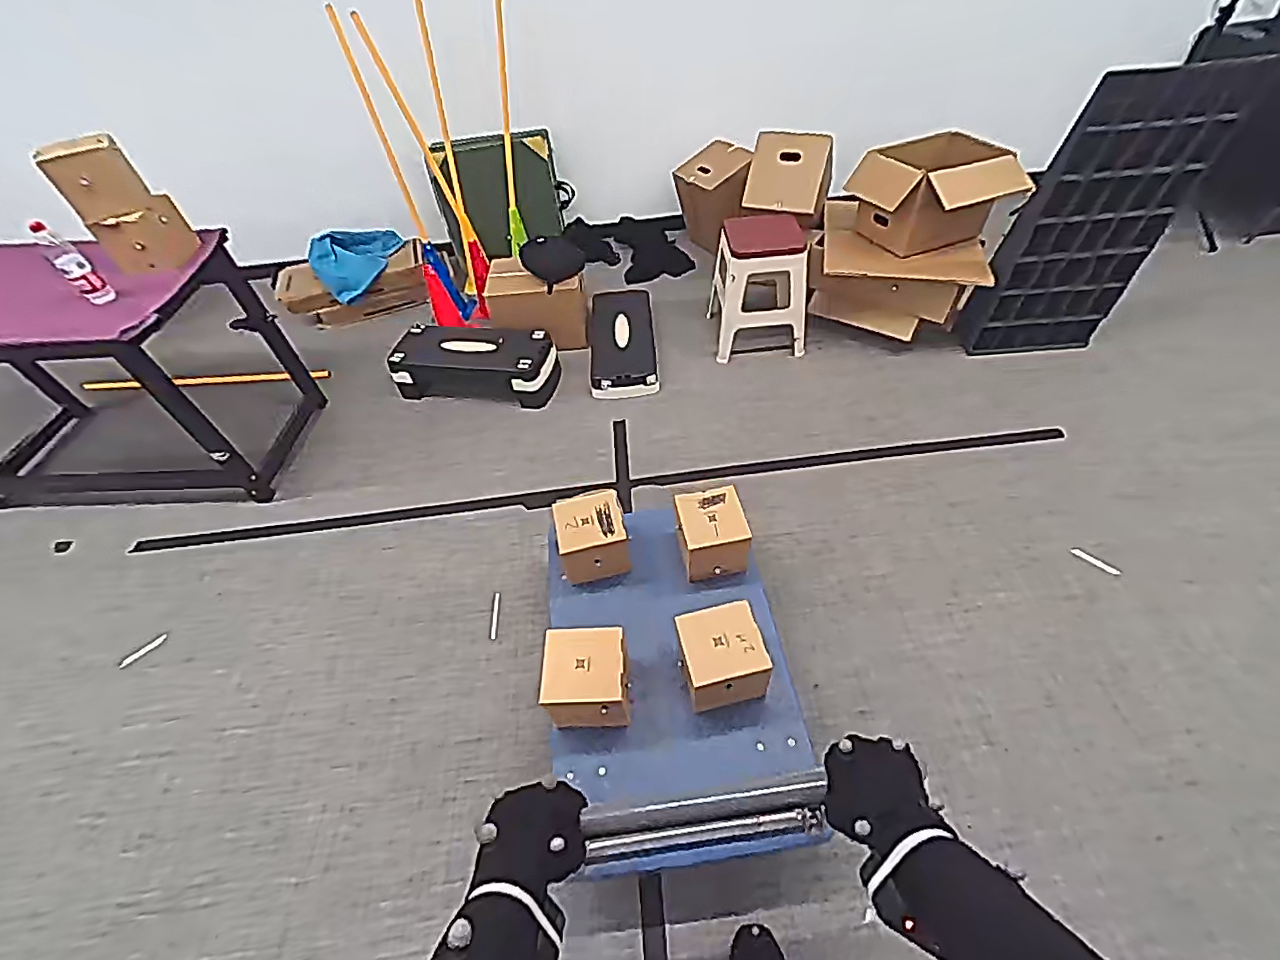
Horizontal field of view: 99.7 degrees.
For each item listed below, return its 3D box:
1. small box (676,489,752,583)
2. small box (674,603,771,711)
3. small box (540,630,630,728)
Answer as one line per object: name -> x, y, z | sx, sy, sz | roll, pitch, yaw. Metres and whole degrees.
small box -> 0.192, 0.153, 1.462 | 0.168, 0.176, 0.179 | -10, 51, -3
small box -> 0.185, 0.412, 1.243 | 0.179, 0.176, 0.168 | -12, 50, -4
small box -> -0.118, 0.458, 1.237 | 0.179, 0.176, 0.168 | -3, 50, 2
